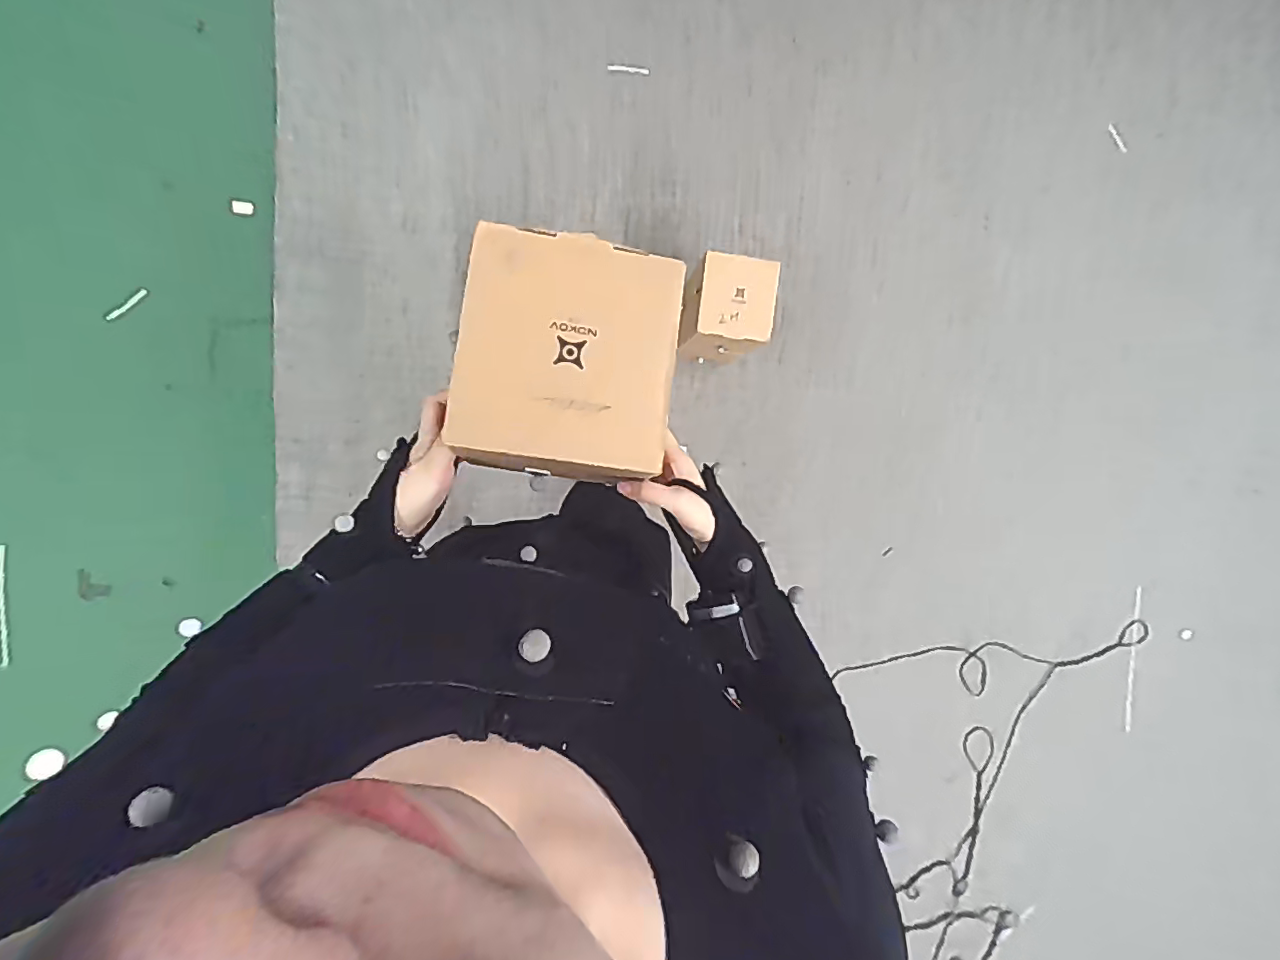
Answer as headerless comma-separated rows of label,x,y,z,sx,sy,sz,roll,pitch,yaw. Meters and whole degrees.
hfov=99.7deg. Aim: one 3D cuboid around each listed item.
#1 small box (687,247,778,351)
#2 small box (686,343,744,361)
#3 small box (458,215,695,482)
small box,0.199,-0.405,1.236,0.168,0.176,0.179,6,95,-6
small box,0.179,-0.417,1.399,0.168,0.176,0.179,8,95,-7
small box,-0.060,-0.098,0.492,0.168,0.176,0.179,8,85,-11
